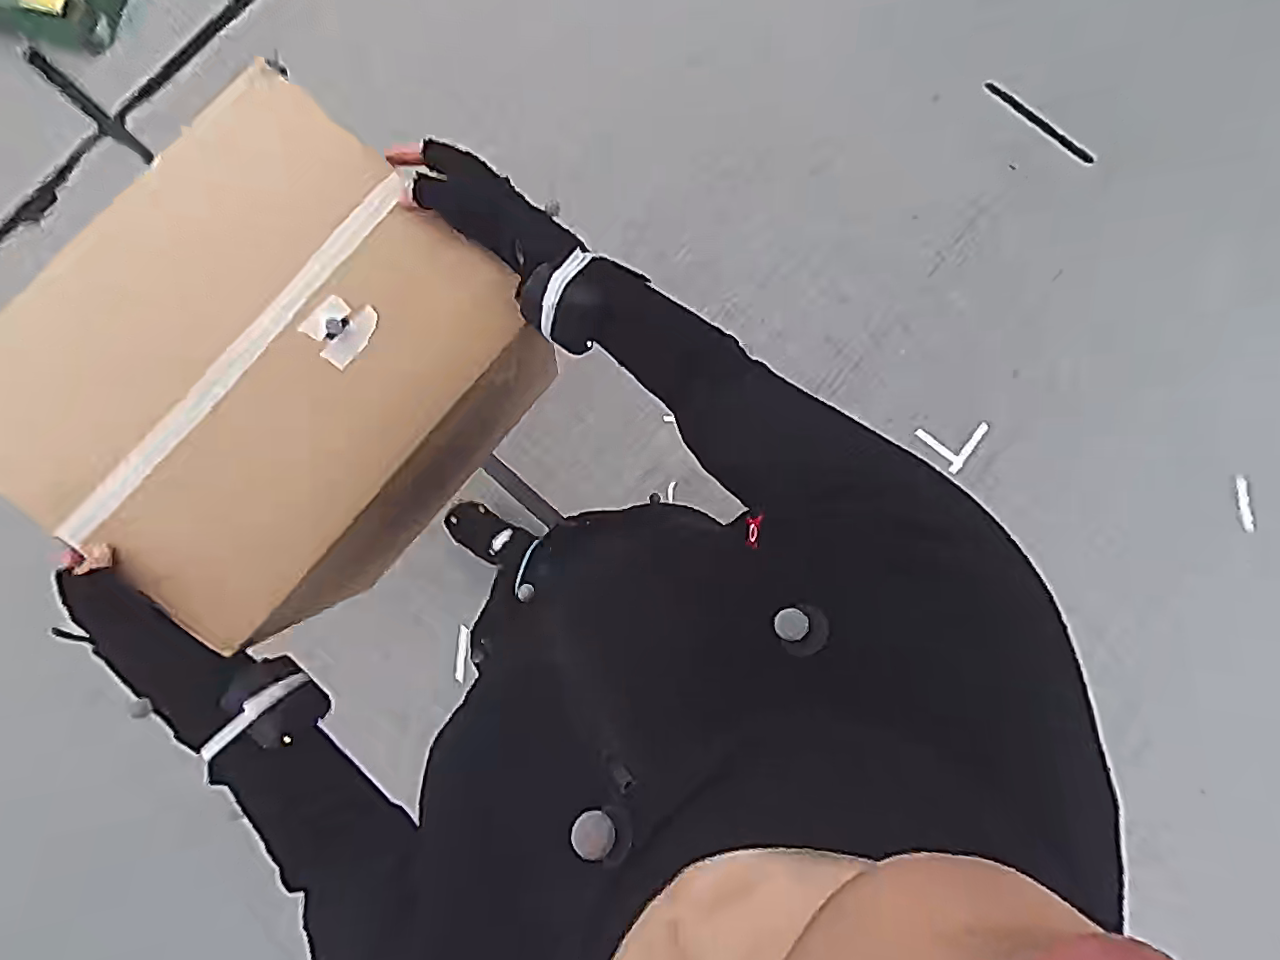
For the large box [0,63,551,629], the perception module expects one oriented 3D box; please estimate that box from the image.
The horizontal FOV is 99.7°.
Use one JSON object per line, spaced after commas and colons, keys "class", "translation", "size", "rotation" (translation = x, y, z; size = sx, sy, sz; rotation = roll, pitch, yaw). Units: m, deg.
{"class": "large box", "translation": [-0.346, -0.113, 0.612], "size": [0.320, 0.320, 0.408], "rotation": [40, 84, -6]}
